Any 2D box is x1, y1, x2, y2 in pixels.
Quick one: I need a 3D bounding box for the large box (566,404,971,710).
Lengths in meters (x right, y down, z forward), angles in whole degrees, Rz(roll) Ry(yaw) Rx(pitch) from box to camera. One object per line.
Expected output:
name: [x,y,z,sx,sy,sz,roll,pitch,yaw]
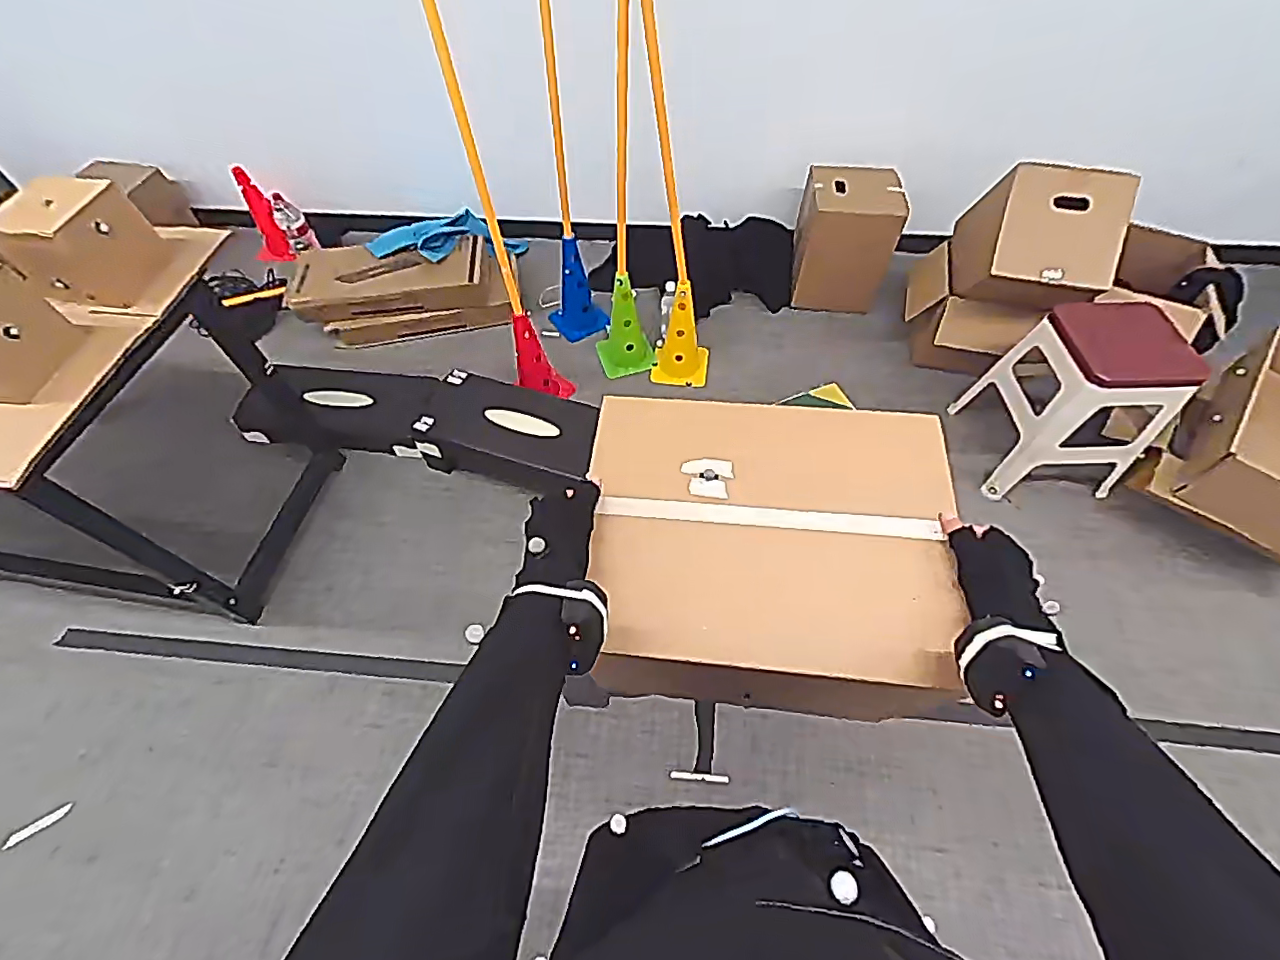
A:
large box: [0.149,0.117,0.733,0.408,0.320,0.320,4,61,7]
